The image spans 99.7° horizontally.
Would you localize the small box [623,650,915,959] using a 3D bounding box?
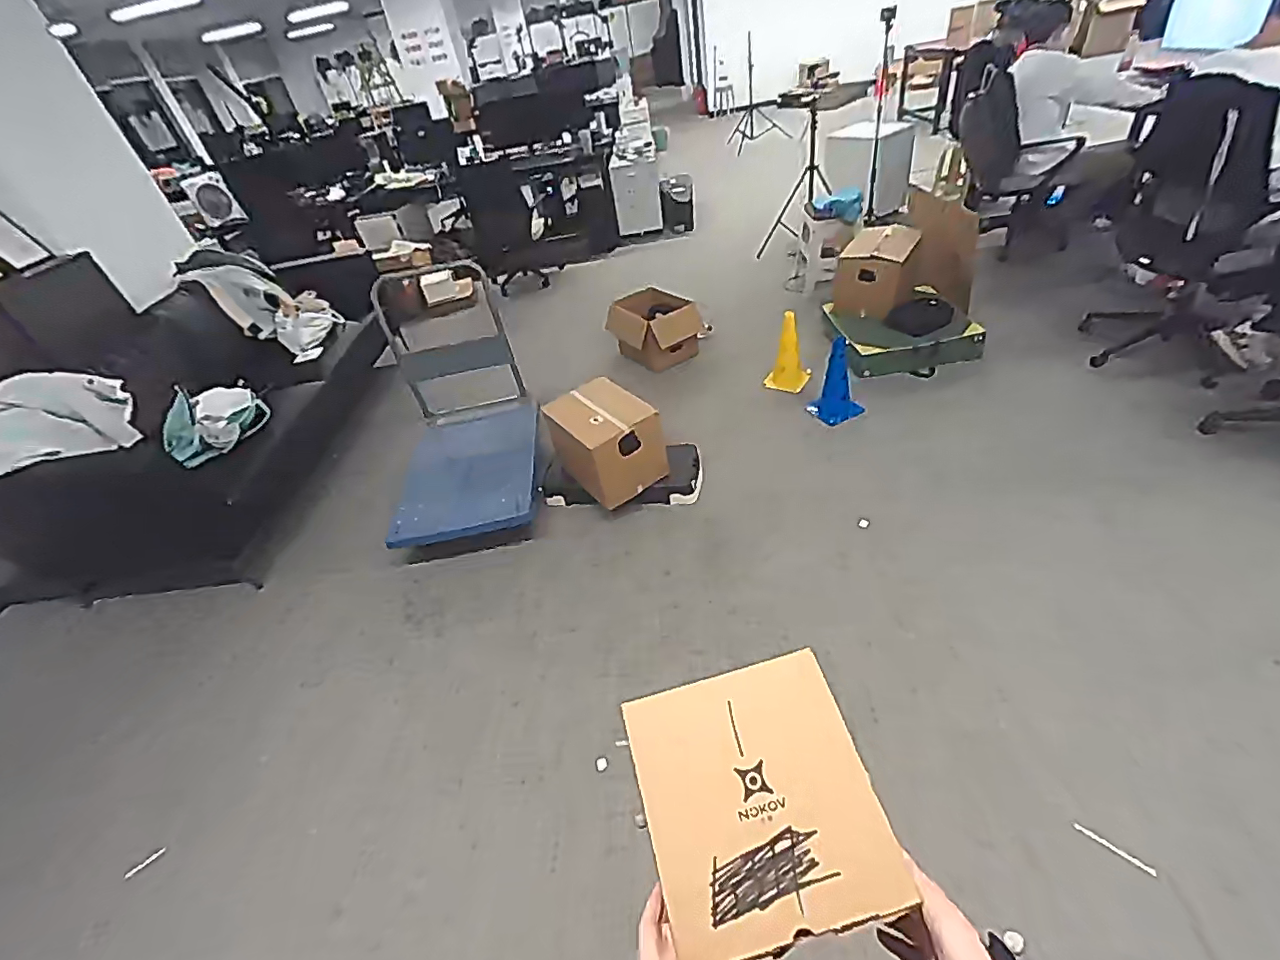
[{"bbox_3d":[0.093,0.270,0.462,0.168,0.176,0.179,-15,58,-3],"label":"small box"}]
